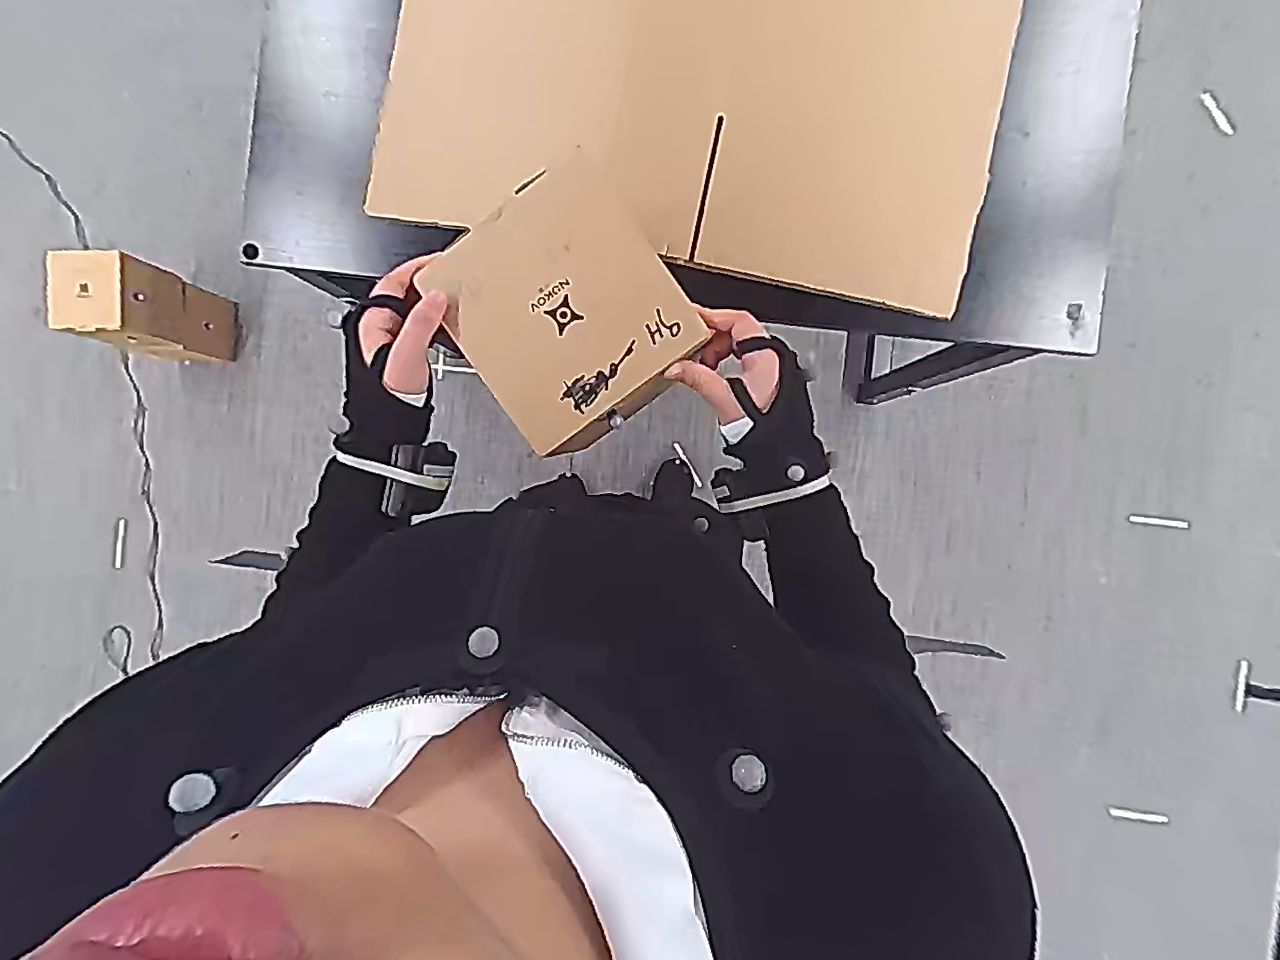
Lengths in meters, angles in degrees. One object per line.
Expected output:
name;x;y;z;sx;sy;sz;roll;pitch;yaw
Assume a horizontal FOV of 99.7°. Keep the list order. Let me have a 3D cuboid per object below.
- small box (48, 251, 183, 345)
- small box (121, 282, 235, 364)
small box;-1.227;-0.421;1.277;0.168;0.176;0.179;-1;90;0
small box;-1.221;-0.417;1.440;0.168;0.176;0.179;3;92;2
